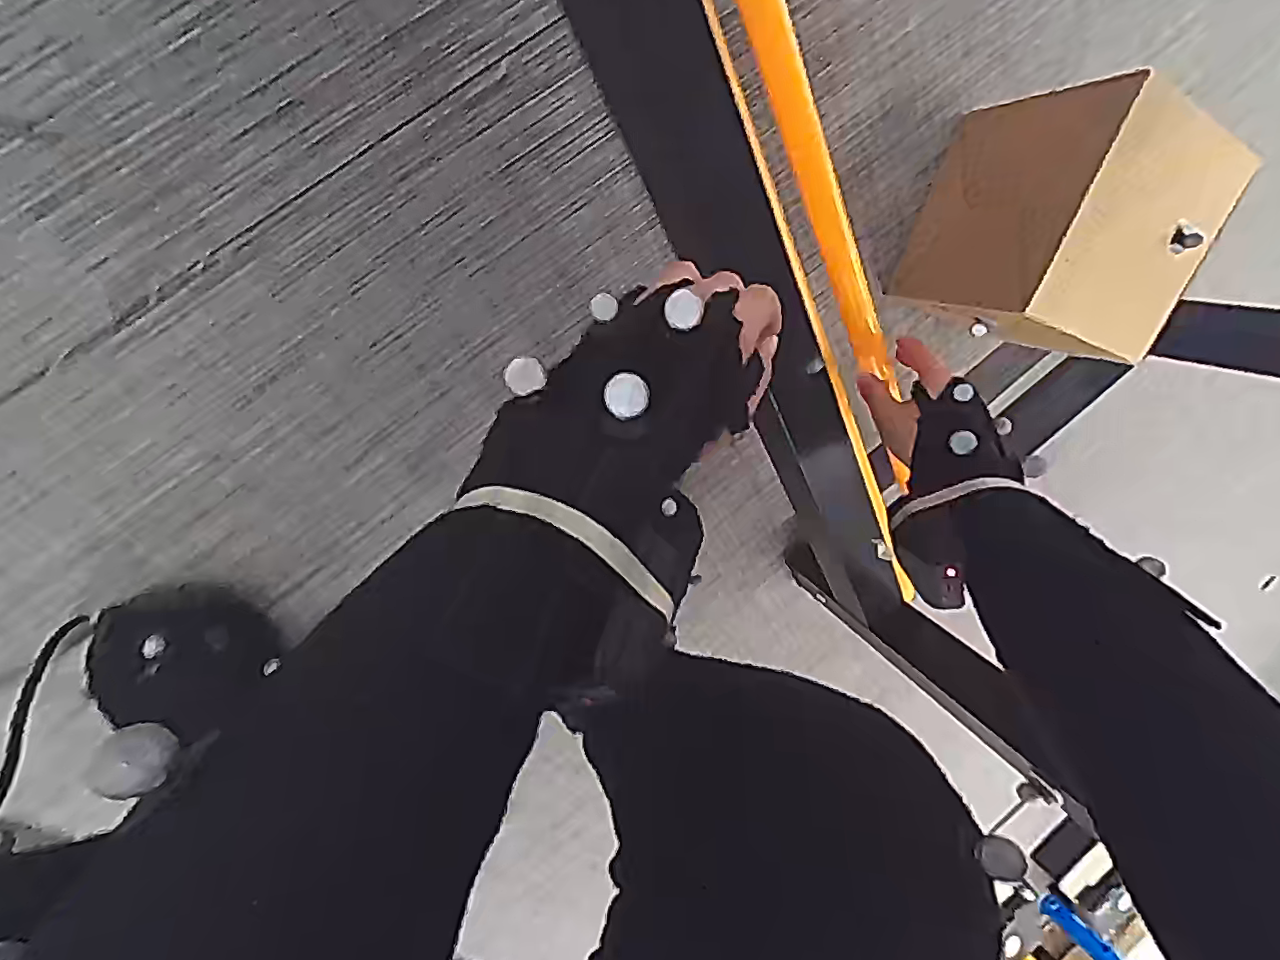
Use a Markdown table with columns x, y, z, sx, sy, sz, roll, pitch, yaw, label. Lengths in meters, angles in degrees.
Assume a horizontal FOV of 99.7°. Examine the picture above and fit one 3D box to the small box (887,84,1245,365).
| x | y | z | sx | sy | sz | roll | pitch | yaw | label |
| --- | --- | --- | --- | --- | --- | --- | --- | --- | --- |
| 0.376 | -0.225 | 0.505 | 0.176 | 0.168 | 0.179 | 11 | 109 | -22 | small box |
